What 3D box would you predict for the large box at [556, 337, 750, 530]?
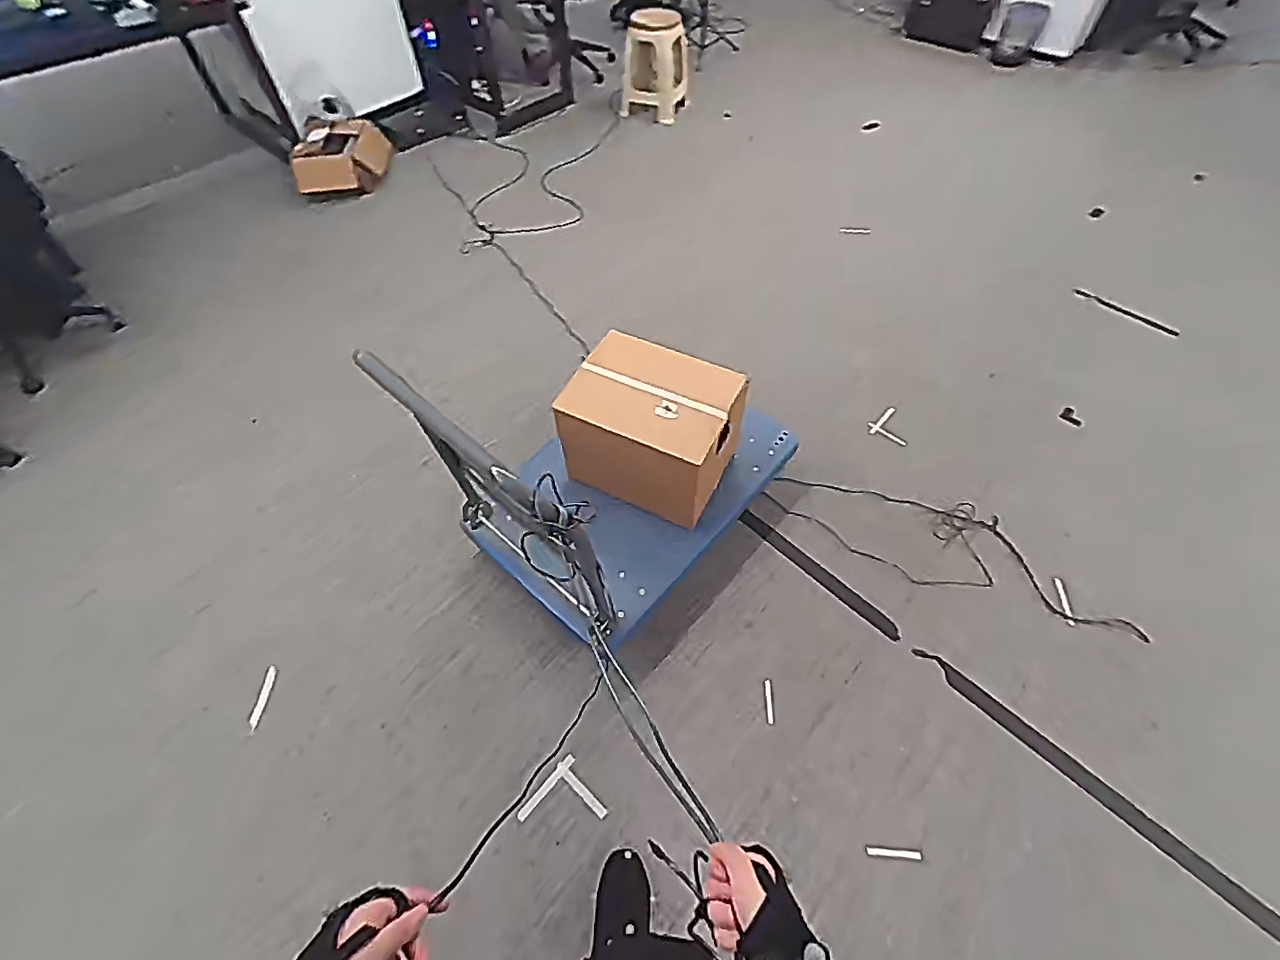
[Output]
[{"bbox_3d":[0.035,-0.125,1.469,0.408,0.320,0.320,23,60,15],"label":"large box"}]
